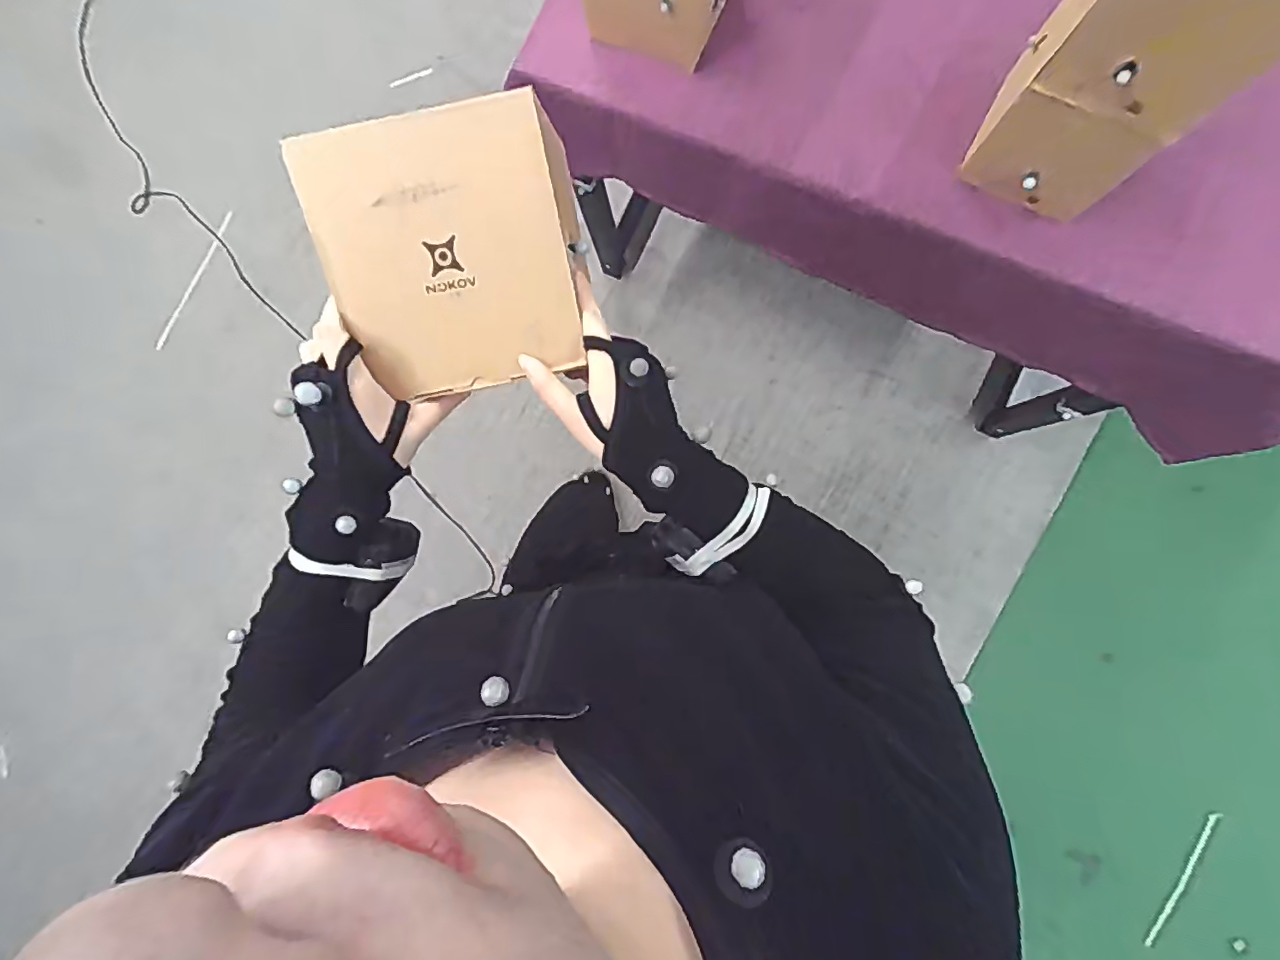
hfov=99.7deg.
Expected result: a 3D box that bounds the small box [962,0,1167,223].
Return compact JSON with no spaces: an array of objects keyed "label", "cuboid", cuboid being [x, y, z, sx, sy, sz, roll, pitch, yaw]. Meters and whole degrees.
[{"label":"small box","cuboid":[0.551,-0.471,0.682,0.168,0.176,0.179,28,90,6]}]

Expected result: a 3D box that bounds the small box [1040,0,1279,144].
[{"label":"small box","cuboid":[0.541,-0.479,0.519,0.168,0.176,0.179,28,90,6]}]
